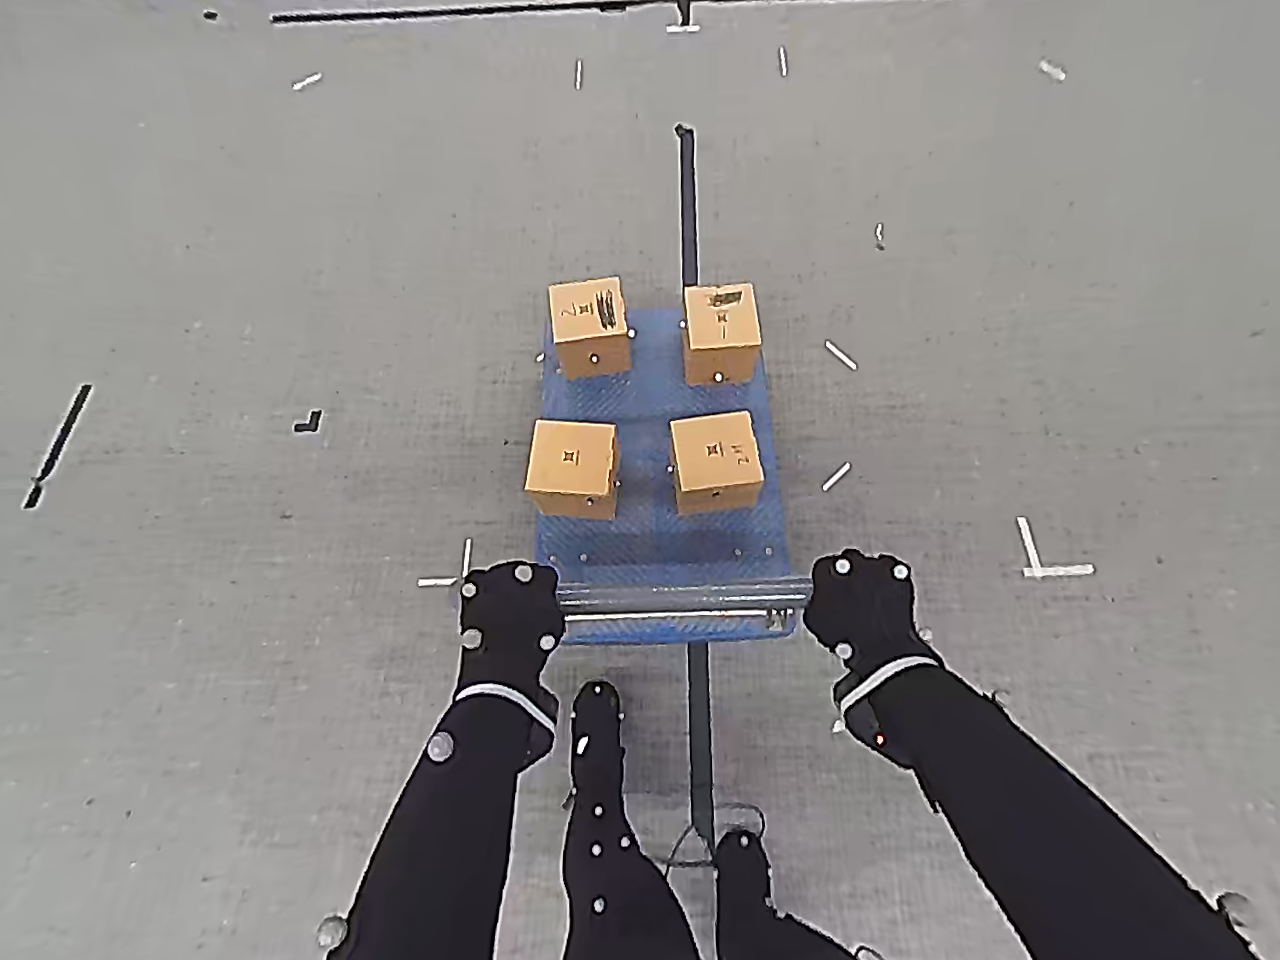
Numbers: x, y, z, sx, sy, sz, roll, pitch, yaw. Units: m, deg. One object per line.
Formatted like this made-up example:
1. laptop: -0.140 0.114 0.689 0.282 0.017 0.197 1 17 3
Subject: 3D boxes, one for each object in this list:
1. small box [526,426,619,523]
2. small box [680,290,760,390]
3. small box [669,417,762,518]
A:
1. small box: -0.145 -0.007 1.221 0.179 0.176 0.168 3 68 2
2. small box: 0.191 -0.343 1.341 0.168 0.176 0.179 -4 70 1
3. small box: 0.162 -0.022 1.216 0.179 0.176 0.168 -7 69 -1
